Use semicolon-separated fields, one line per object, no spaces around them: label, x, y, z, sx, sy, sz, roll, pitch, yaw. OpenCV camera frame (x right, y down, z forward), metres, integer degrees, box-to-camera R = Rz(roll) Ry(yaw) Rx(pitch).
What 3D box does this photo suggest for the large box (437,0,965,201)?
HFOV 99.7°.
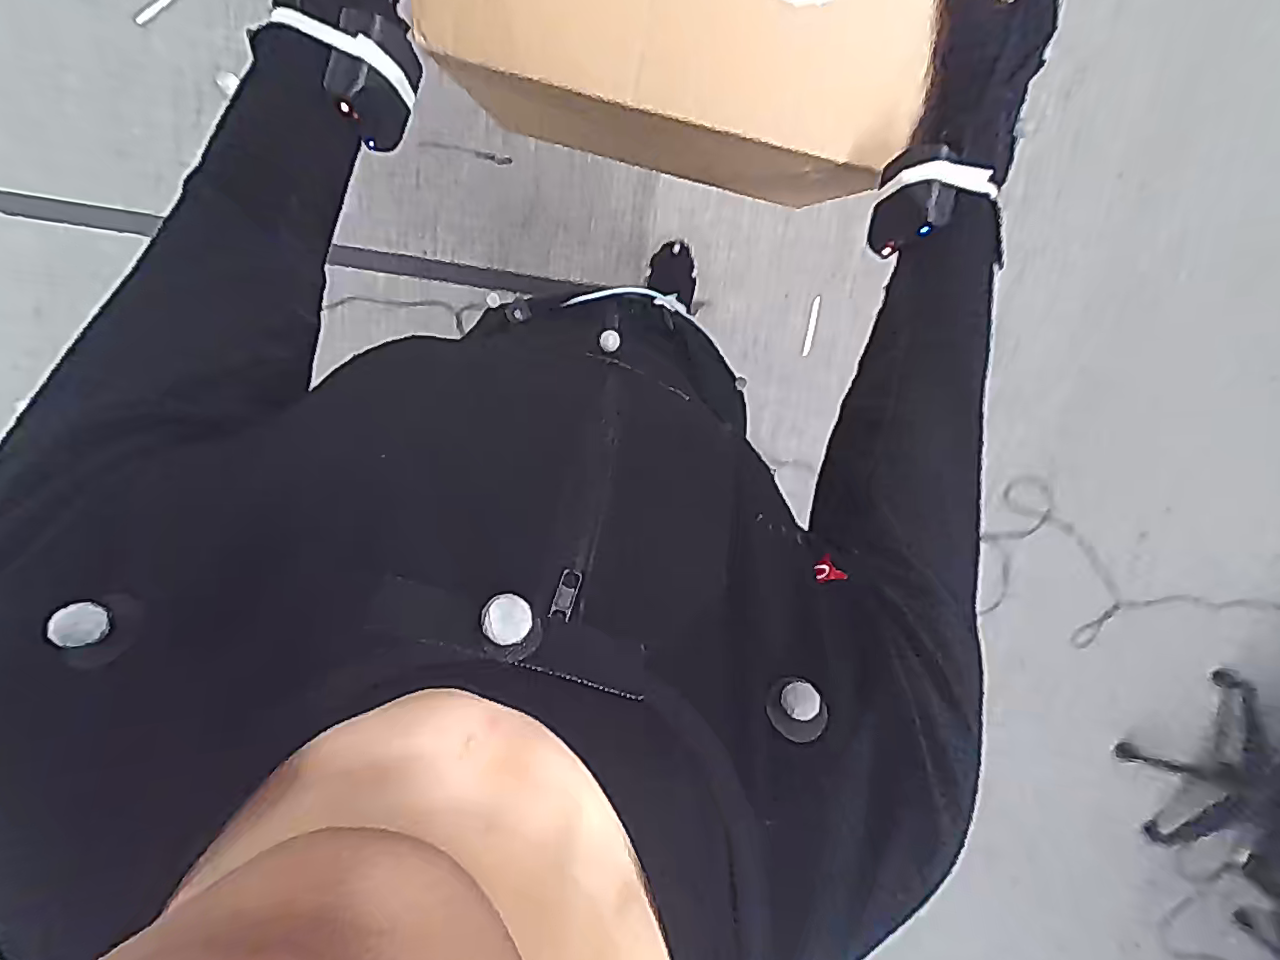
large box;0.058;-0.490;0.520;0.408;0.320;0.320;11;113;-7
